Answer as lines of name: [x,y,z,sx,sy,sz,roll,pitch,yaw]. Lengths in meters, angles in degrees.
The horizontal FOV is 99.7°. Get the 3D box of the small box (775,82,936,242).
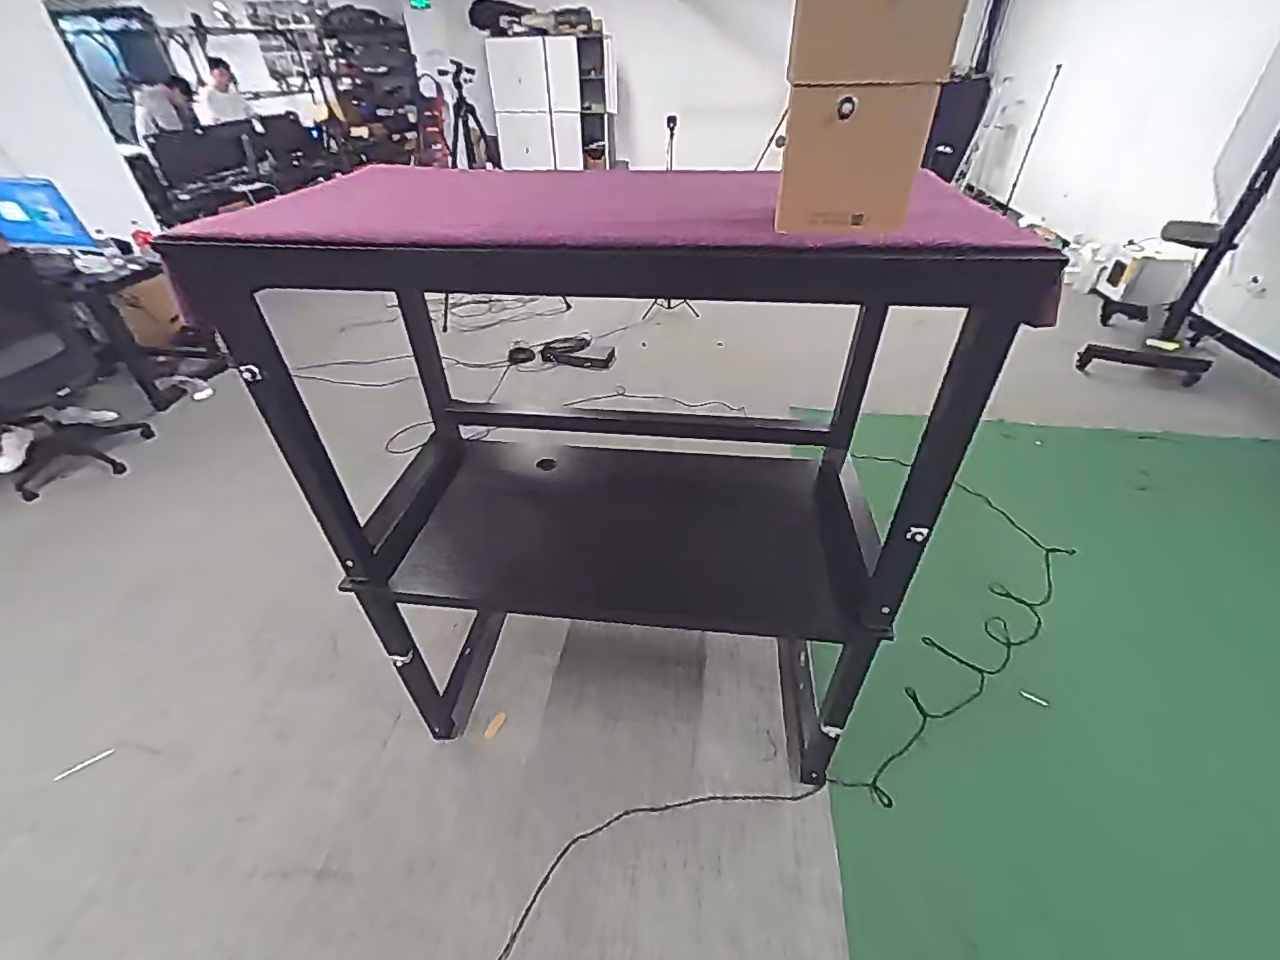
small box: [0.278,-0.439,0.743,0.168,0.176,0.179,5,38,10]
